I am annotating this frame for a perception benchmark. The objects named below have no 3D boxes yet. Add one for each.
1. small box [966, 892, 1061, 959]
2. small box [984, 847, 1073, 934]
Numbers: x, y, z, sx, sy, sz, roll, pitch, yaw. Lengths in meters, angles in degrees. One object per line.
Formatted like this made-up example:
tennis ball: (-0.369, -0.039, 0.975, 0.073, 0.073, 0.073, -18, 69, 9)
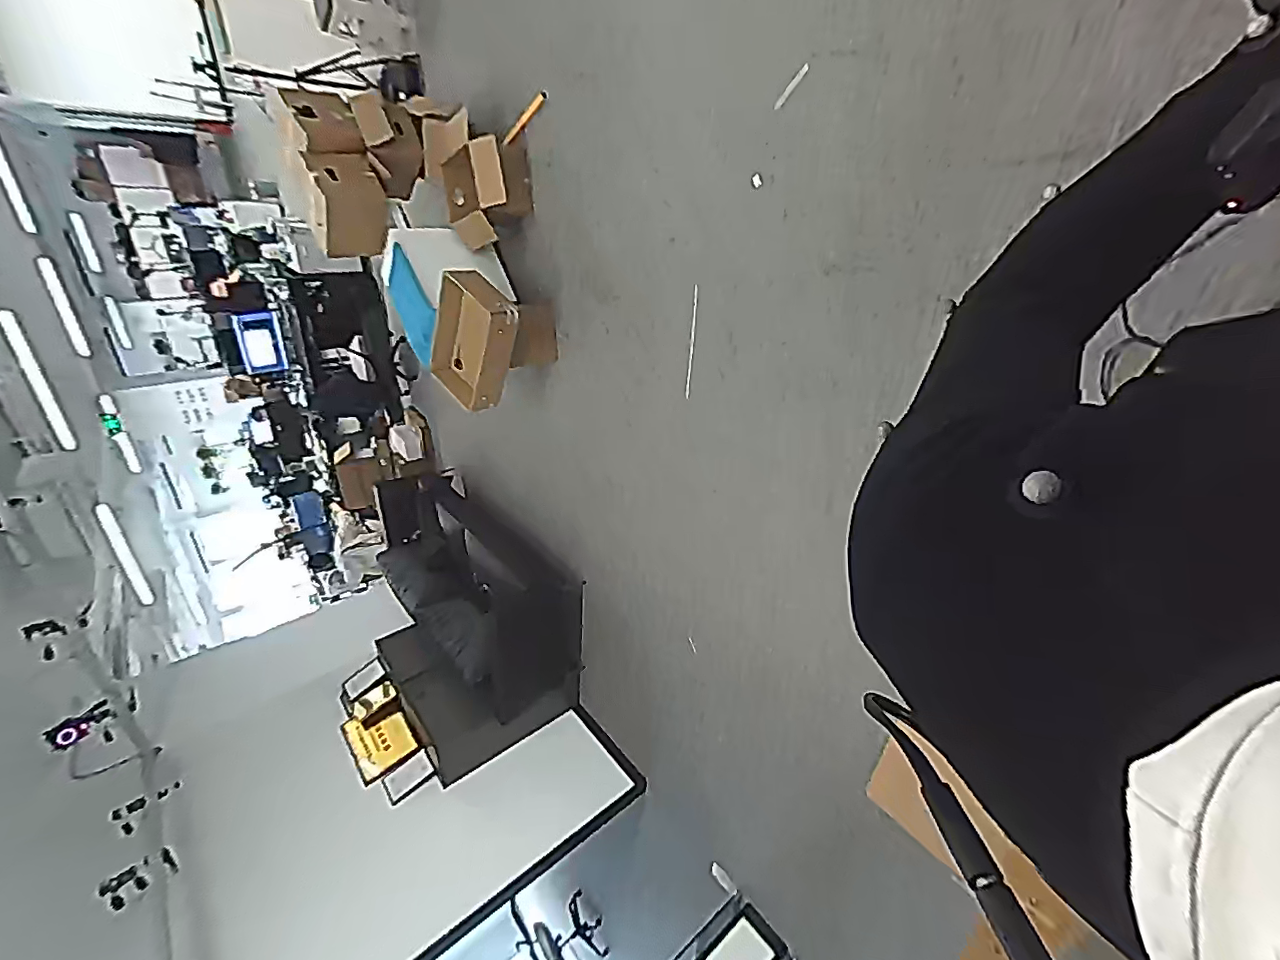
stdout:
small box: (1.091, 1.368, 1.577, 0.168, 0.176, 0.179, 26, 126, 46)
small box: (1.206, 1.303, 1.678, 0.168, 0.176, 0.179, 24, 125, 46)
